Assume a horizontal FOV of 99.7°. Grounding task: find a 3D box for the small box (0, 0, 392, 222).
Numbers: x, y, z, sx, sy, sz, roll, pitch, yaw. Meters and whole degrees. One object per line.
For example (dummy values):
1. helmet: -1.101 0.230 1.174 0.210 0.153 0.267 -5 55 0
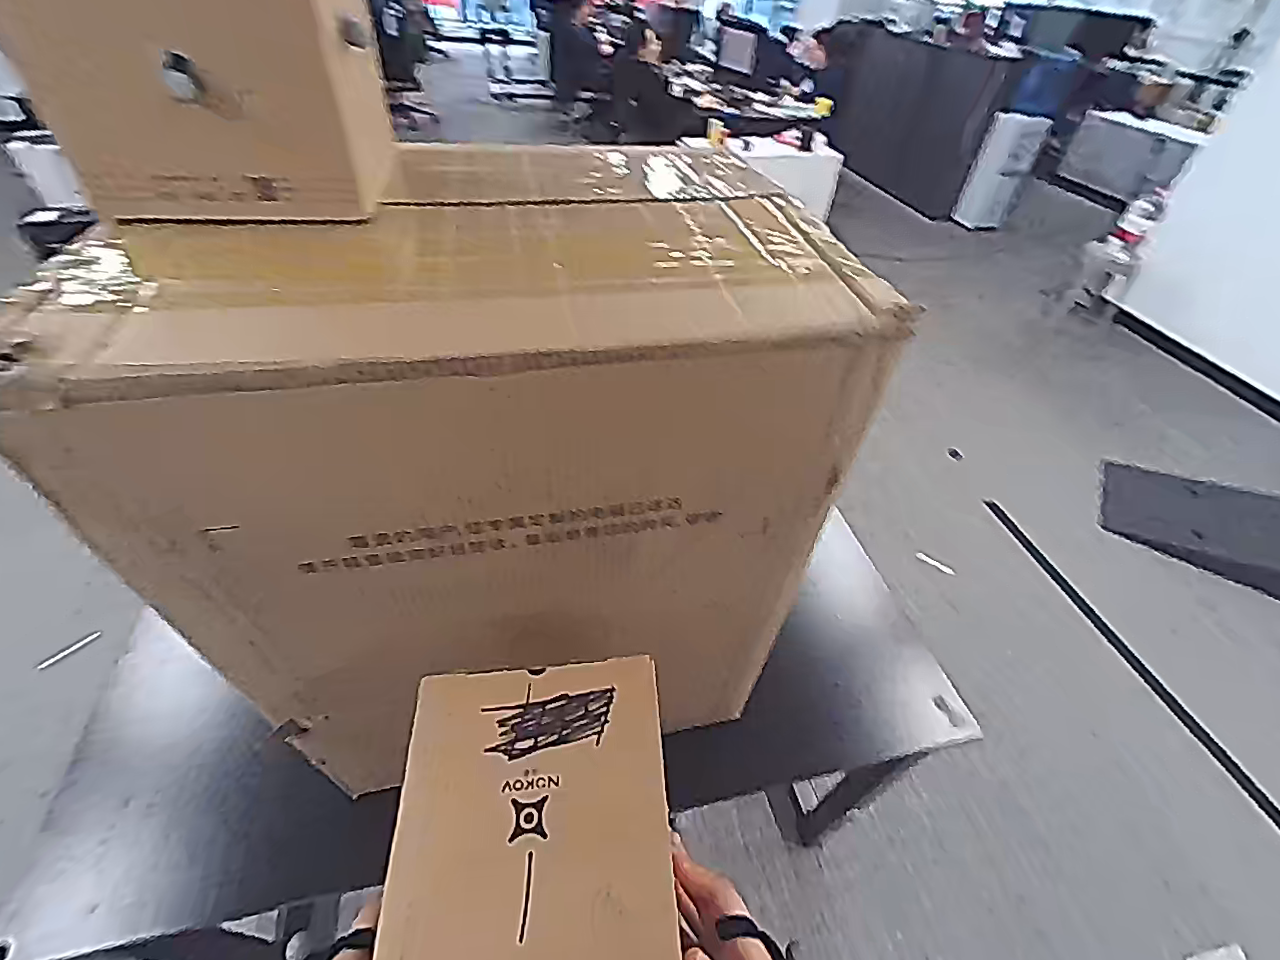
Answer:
1. small box: -0.282 -0.290 0.371 0.168 0.176 0.179 -6 44 -12
